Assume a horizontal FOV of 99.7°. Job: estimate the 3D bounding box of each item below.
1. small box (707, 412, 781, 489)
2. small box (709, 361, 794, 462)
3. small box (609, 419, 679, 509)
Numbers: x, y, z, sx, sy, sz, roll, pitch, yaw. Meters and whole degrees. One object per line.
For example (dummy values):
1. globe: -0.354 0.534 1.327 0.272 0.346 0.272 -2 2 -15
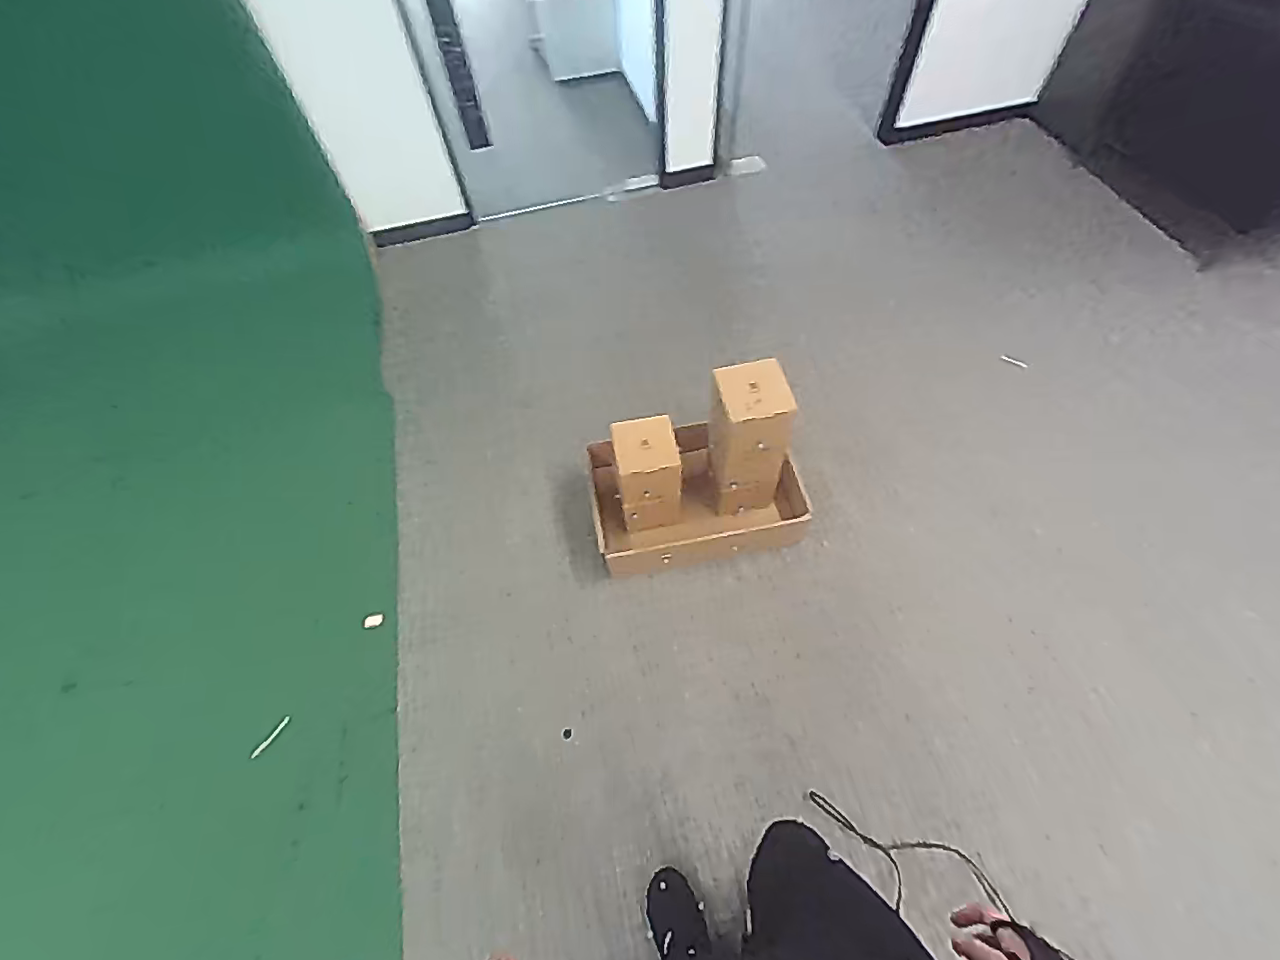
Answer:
1. small box: 0.286 -0.088 1.524 0.168 0.176 0.179 -9 57 -1
2. small box: 0.276 -0.172 1.383 0.168 0.176 0.179 -11 58 -2
3. small box: 0.008 -0.043 1.512 0.168 0.176 0.179 -10 57 -4
